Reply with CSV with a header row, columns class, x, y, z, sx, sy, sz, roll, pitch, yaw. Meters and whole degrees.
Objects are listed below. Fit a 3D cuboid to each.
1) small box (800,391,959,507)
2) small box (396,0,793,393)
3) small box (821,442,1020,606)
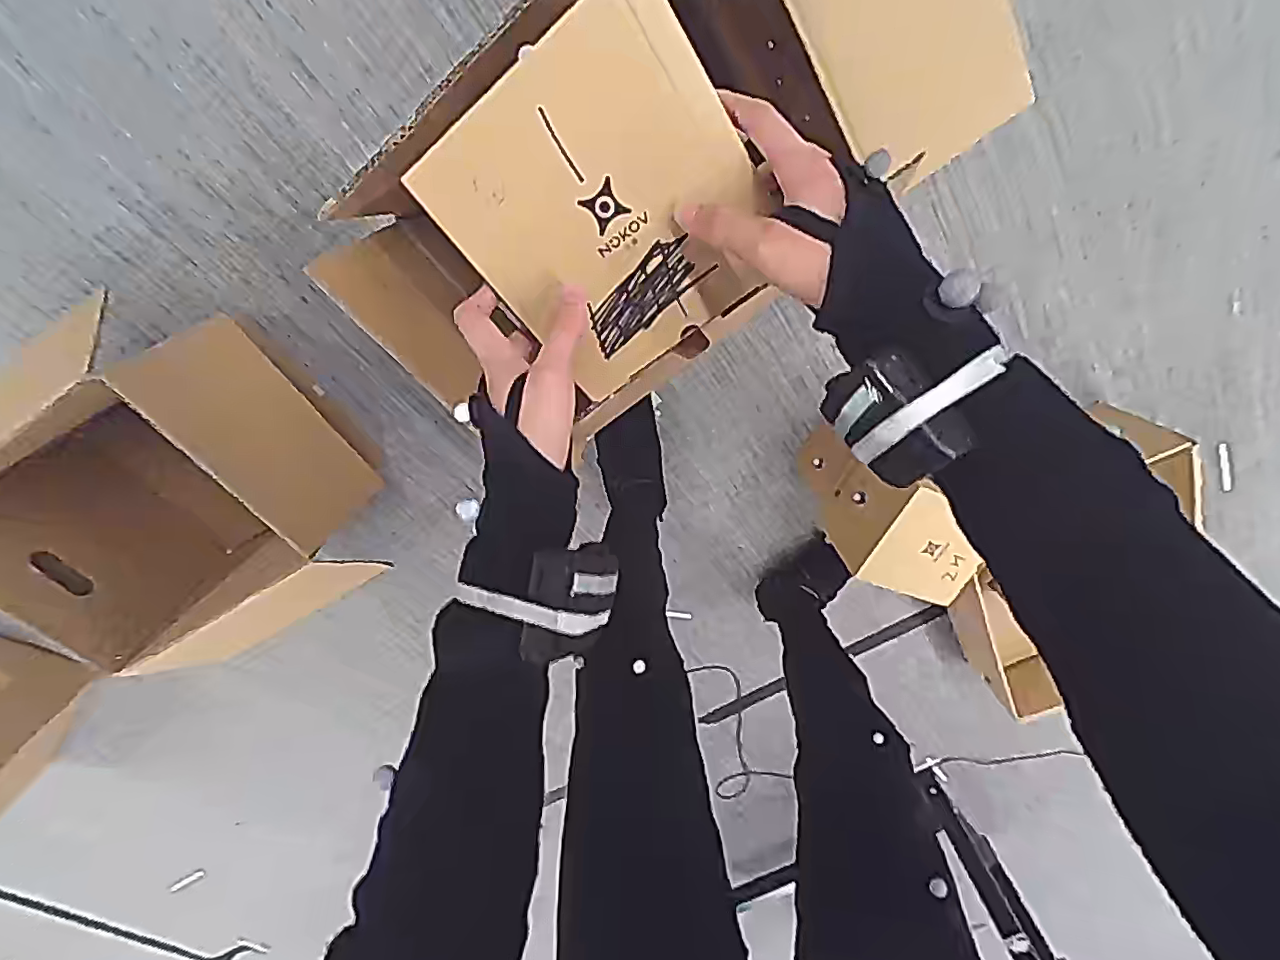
class,x,y,z,sx,sy,sz,roll,pitch,yaw
small box,0.411,-0.029,0.969,0.168,0.176,0.179,26,114,-18
small box,-0.022,-0.200,0.378,0.168,0.176,0.179,-33,118,17
small box,0.412,0.061,0.831,0.179,0.176,0.168,17,117,-14
